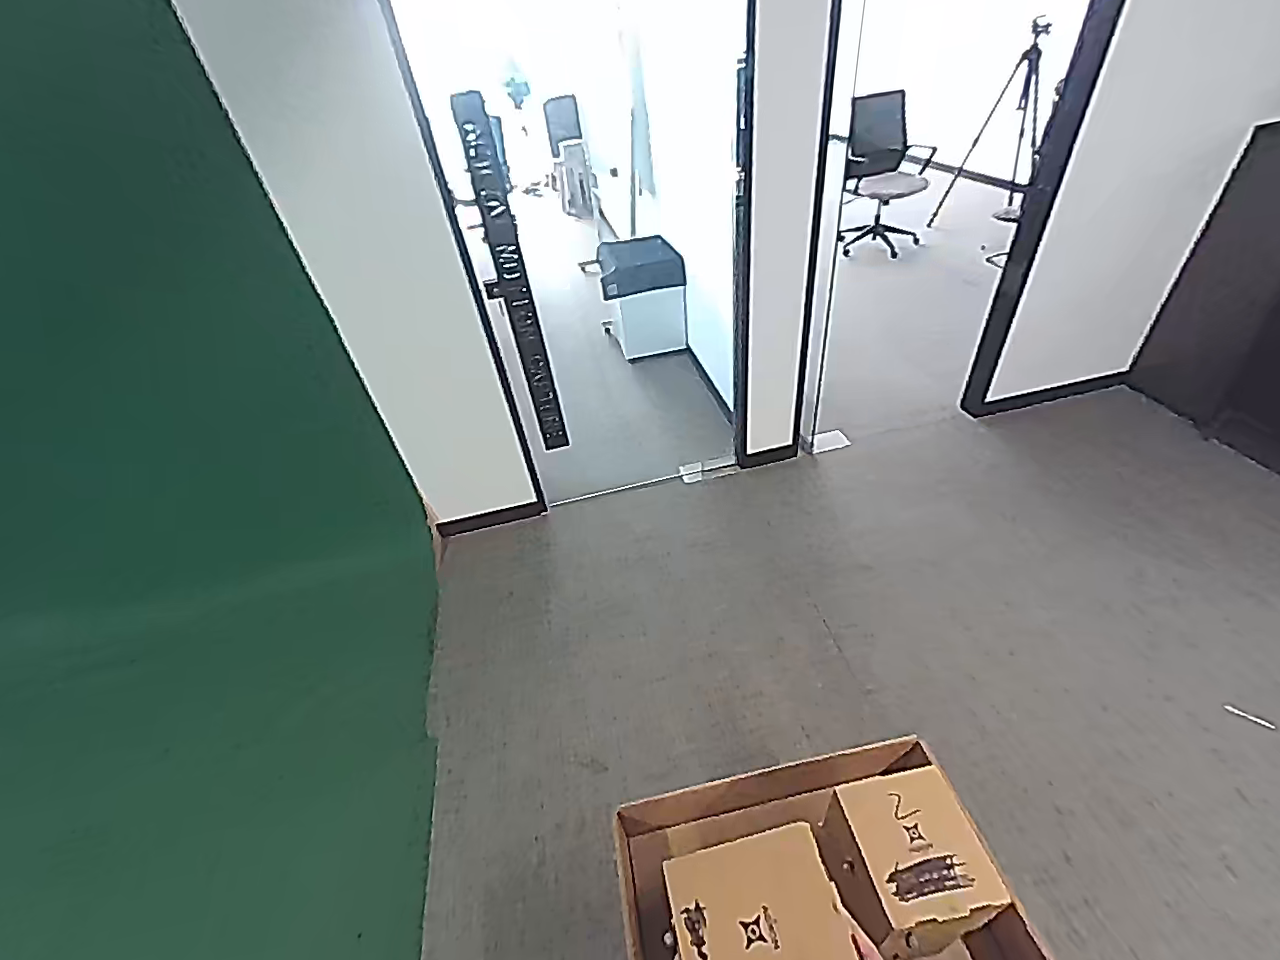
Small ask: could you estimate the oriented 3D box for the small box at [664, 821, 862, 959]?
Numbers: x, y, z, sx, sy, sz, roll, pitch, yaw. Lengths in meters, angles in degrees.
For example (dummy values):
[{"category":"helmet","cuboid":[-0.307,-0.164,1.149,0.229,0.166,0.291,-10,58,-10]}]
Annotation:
[{"category":"small box","cuboid":[0.132,0.516,0.605,0.179,0.176,0.168,-12,41,-4]}]
